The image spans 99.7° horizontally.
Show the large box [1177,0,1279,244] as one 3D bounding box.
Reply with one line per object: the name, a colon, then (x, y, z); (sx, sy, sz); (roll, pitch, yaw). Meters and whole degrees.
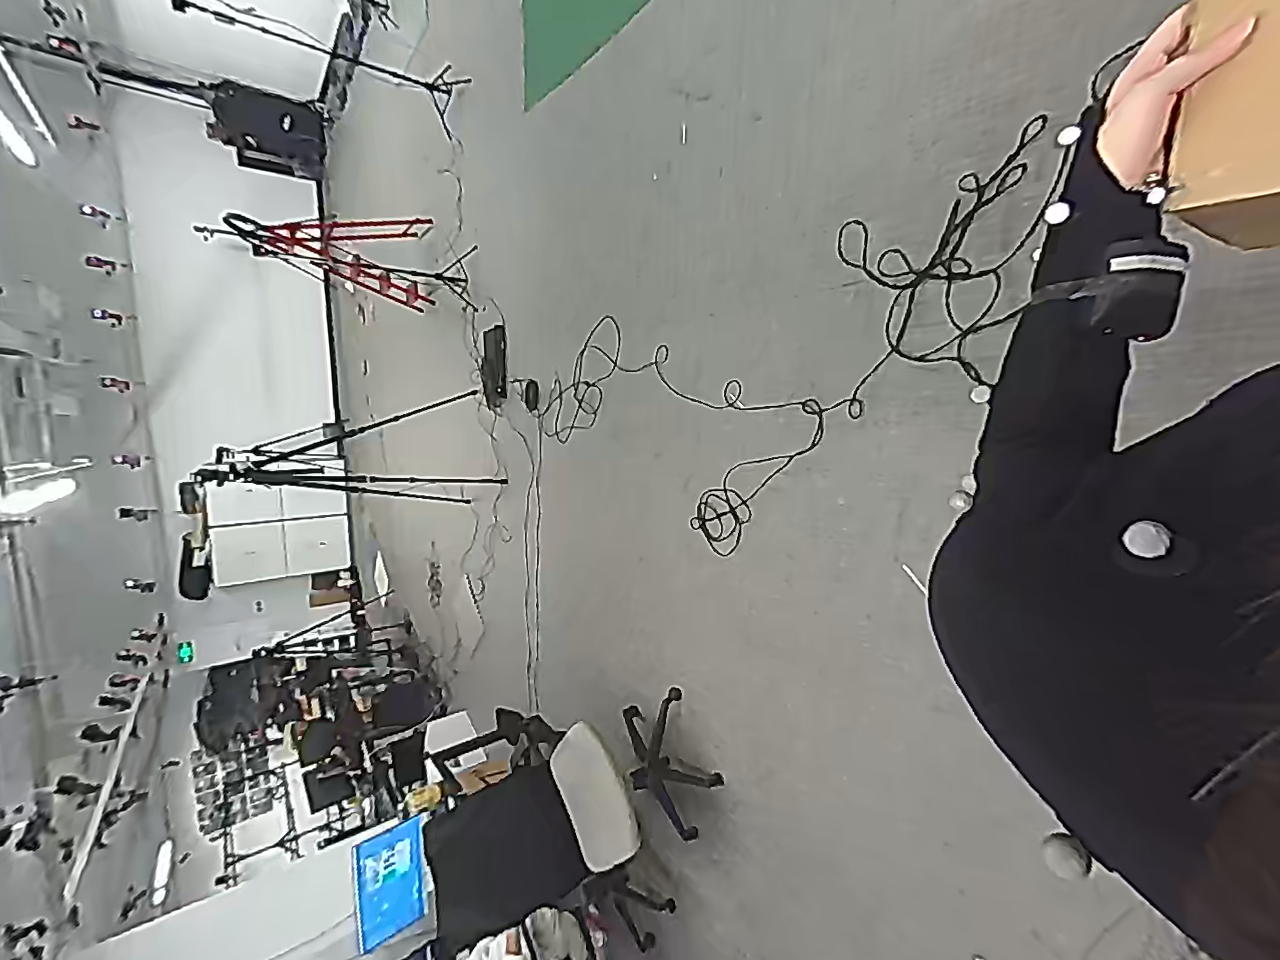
large box: (0.633, -0.344, 0.298); (0.408, 0.320, 0.320); (15, 110, 54)
